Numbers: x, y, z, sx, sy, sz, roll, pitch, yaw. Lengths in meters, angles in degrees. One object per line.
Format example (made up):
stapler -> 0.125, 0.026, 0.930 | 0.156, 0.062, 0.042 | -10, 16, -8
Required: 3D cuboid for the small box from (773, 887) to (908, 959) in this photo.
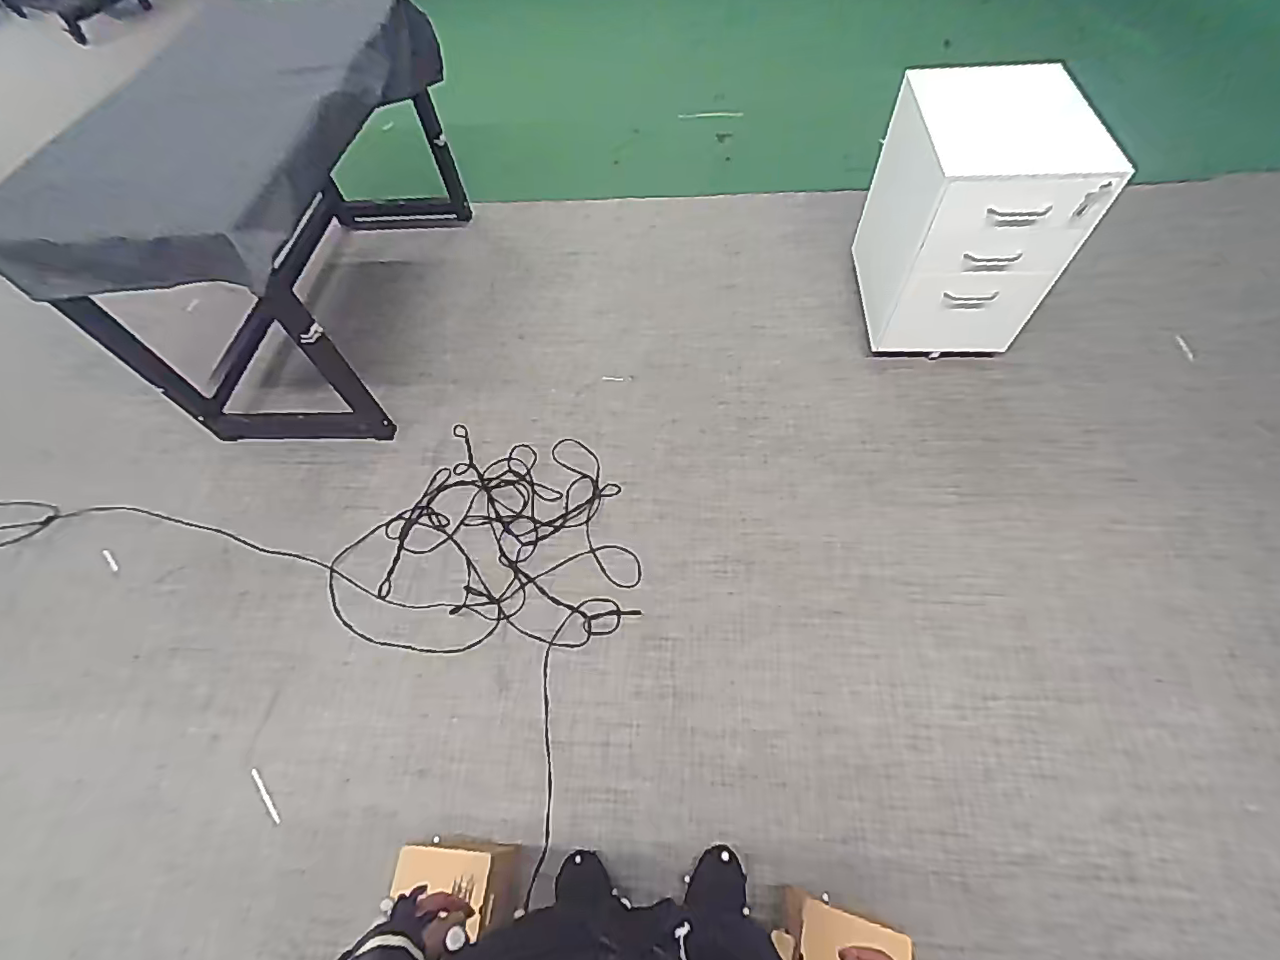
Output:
small box -> 0.338, 0.837, 0.935 | 0.179, 0.176, 0.168 | 13, 61, 12
